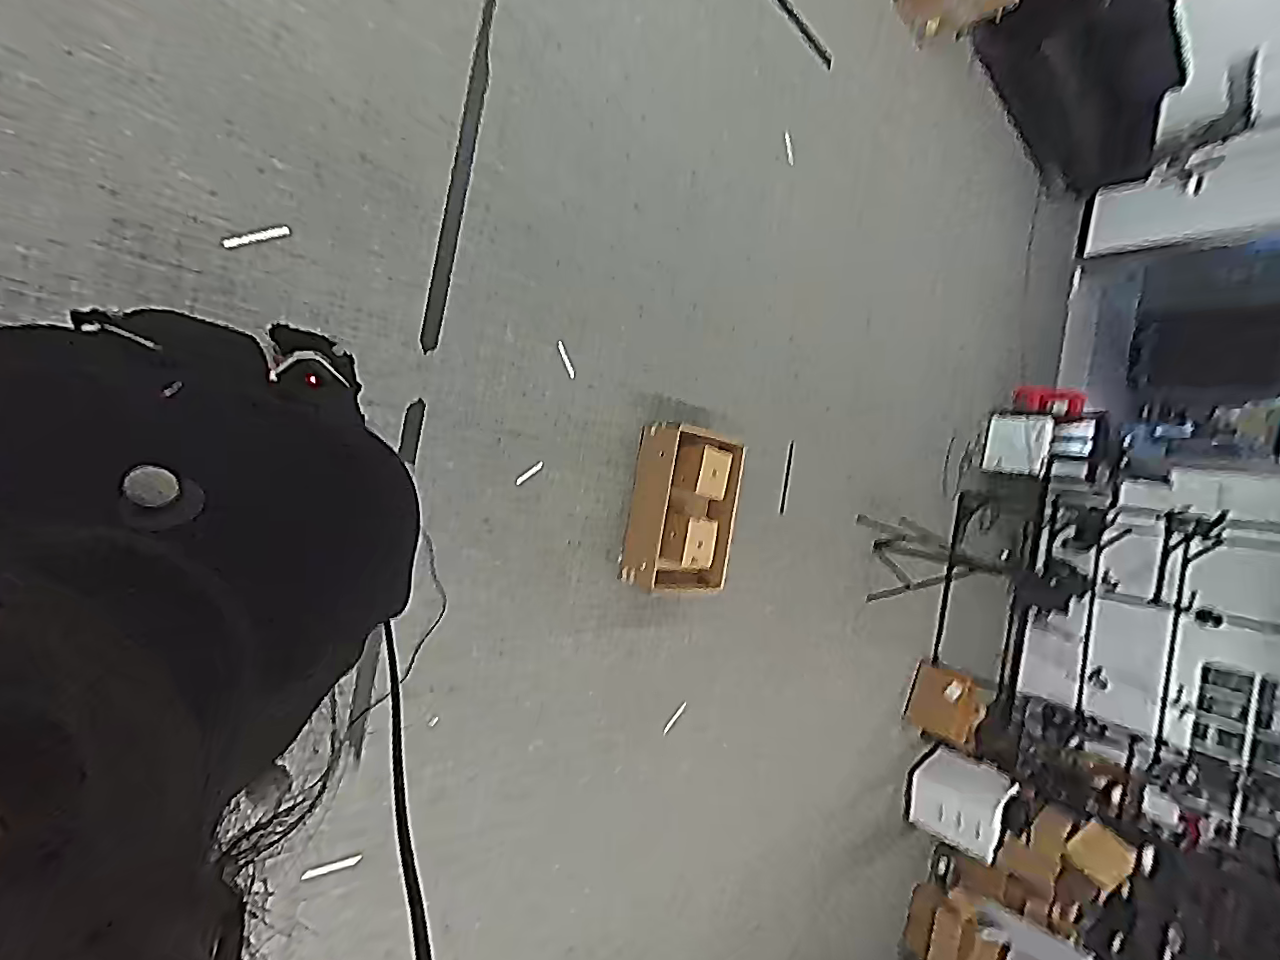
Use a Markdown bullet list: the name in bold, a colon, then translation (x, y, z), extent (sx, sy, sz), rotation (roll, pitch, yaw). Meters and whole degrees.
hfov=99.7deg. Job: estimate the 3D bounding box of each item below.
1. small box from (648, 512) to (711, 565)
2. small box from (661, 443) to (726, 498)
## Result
- **small box**: translation (0.150, 0.223, 2.082), extent (0.168, 0.176, 0.179), rotation (11, 87, -41)
- **small box**: translation (0.203, -0.039, 2.091), extent (0.168, 0.176, 0.179), rotation (13, 88, -42)
